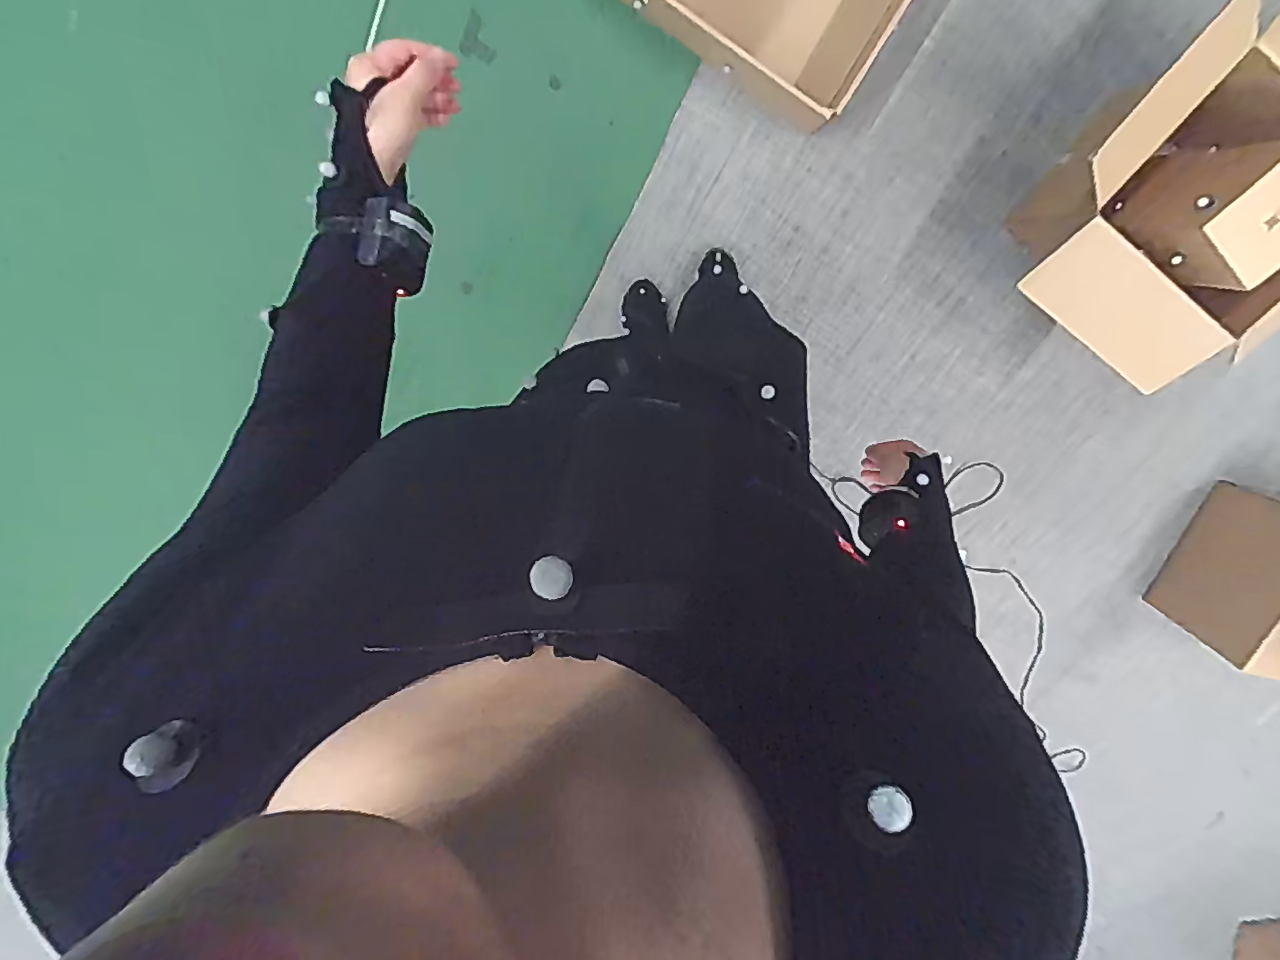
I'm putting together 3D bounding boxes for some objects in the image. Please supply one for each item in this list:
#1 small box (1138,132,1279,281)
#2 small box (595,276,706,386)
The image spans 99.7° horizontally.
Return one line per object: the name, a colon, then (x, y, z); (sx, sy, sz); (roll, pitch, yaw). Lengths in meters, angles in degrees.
small box: (1.083, -0.497, 0.995); (0.168, 0.176, 0.179); (36, 110, -16)
small box: (0.033, -0.354, 1.288); (0.176, 0.168, 0.179); (36, 88, -43)
